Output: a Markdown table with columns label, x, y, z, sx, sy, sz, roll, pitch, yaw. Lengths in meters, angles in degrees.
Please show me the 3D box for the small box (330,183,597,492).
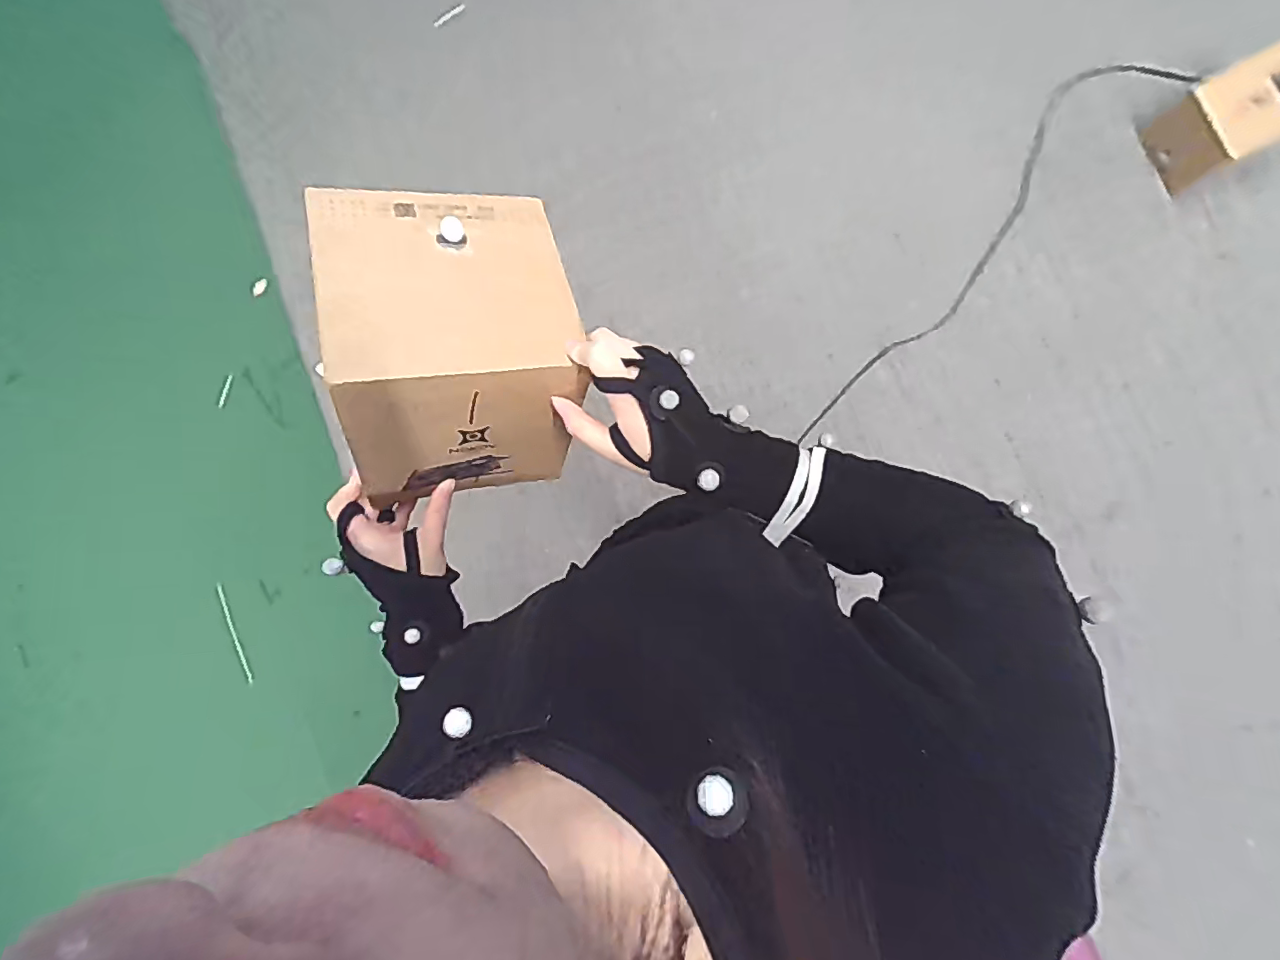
| label | x | y | z | sx | sy | sz | roll | pitch | yaw |
| --- | --- | --- | --- | --- | --- | --- | --- | --- | --- |
| small box | -0.149 | -0.109 | 0.453 | 0.168 | 0.179 | 0.176 | -8 | 66 | -22 |
